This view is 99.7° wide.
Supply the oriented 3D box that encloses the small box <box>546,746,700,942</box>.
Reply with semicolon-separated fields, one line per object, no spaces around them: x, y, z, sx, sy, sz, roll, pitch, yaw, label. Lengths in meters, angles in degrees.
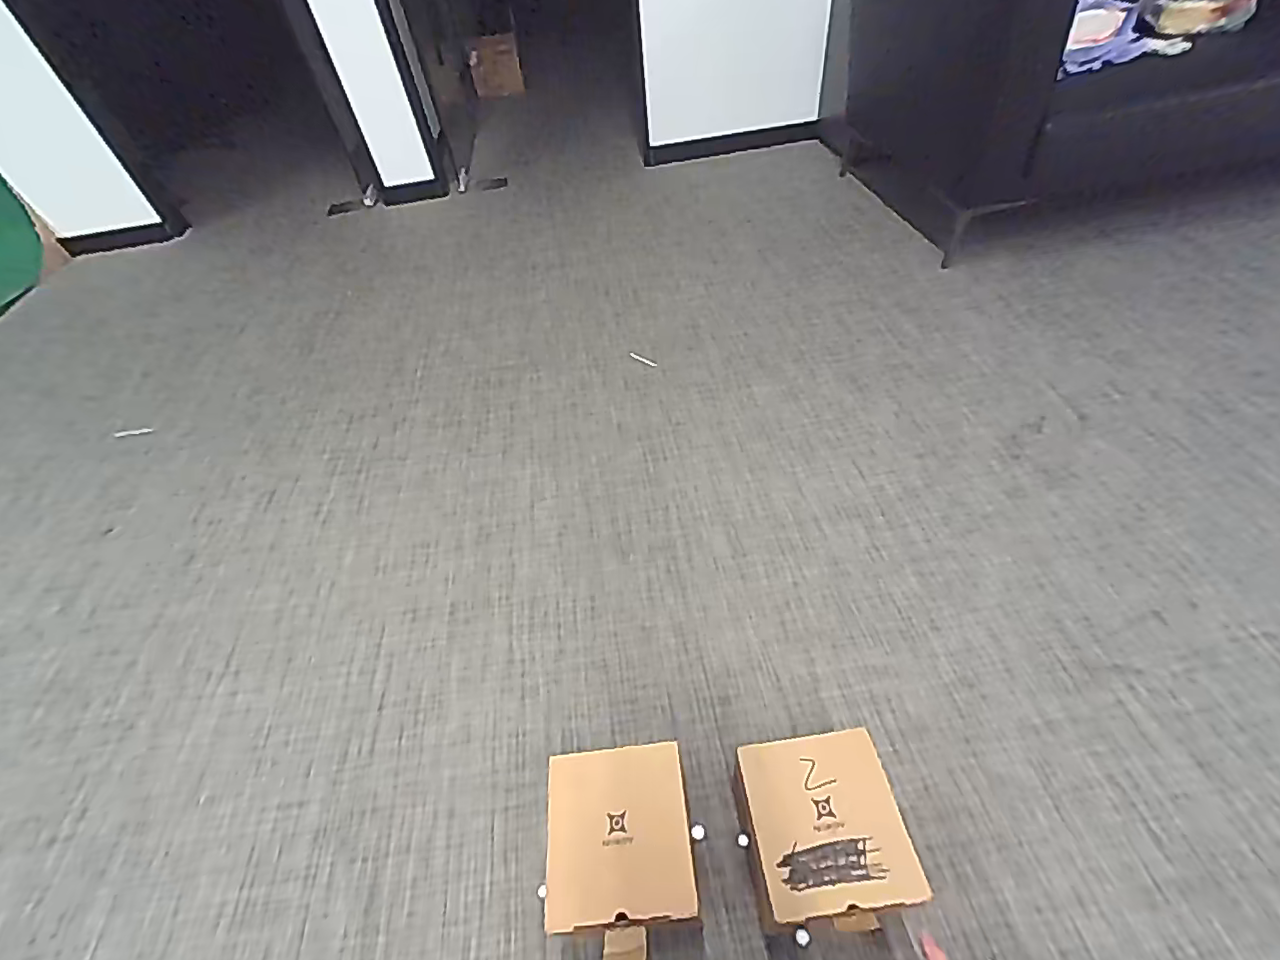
-0.018;0.462;0.686;0.168;0.176;0.179;-8;48;1;small box
